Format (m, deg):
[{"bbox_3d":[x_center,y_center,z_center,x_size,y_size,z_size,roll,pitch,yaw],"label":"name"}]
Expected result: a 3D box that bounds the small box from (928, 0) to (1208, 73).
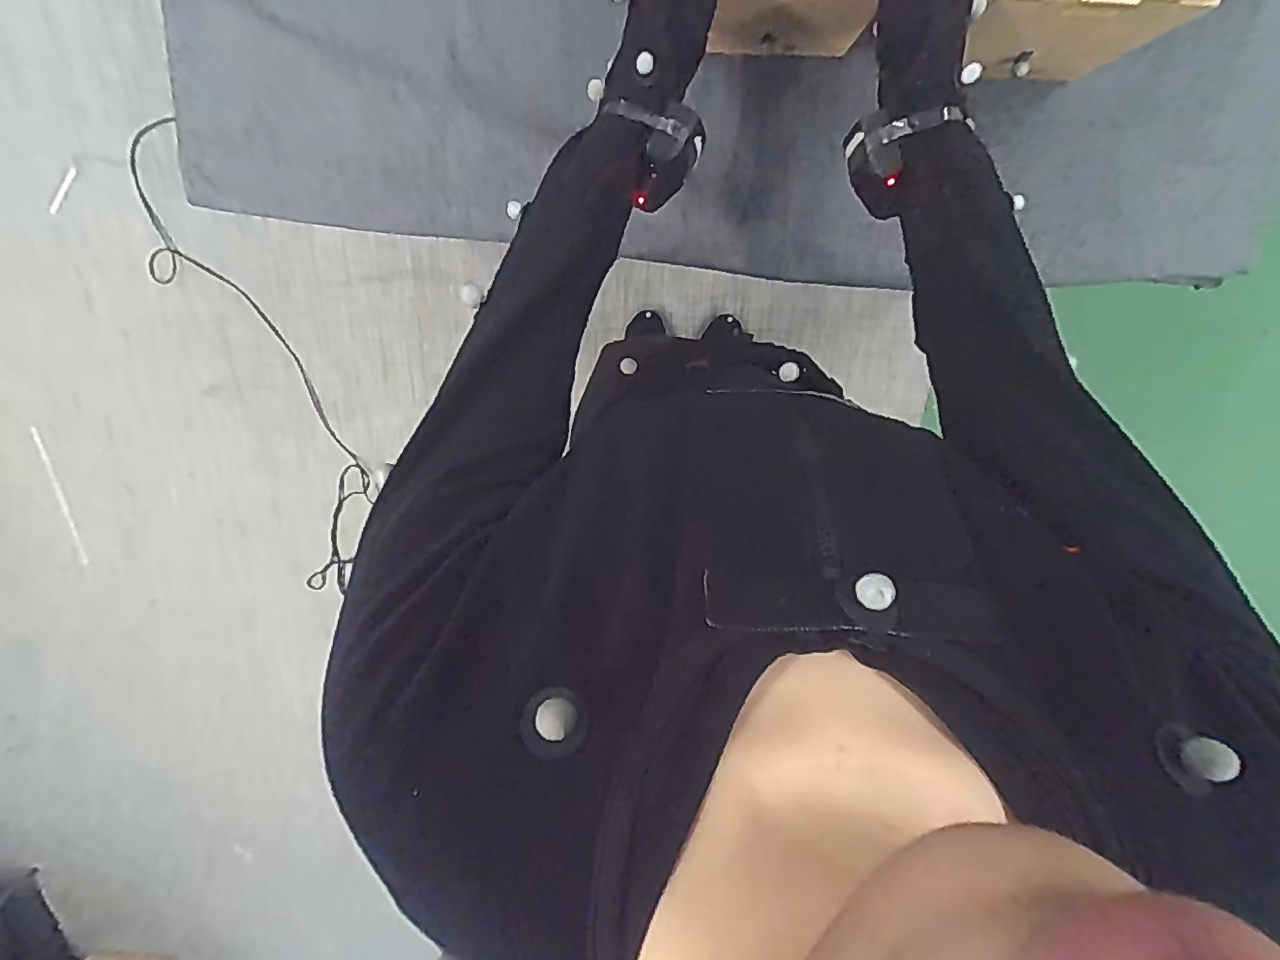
[{"bbox_3d":[0.373,-0.482,0.456,0.168,0.176,0.179,5,111,3],"label":"small box"}]
